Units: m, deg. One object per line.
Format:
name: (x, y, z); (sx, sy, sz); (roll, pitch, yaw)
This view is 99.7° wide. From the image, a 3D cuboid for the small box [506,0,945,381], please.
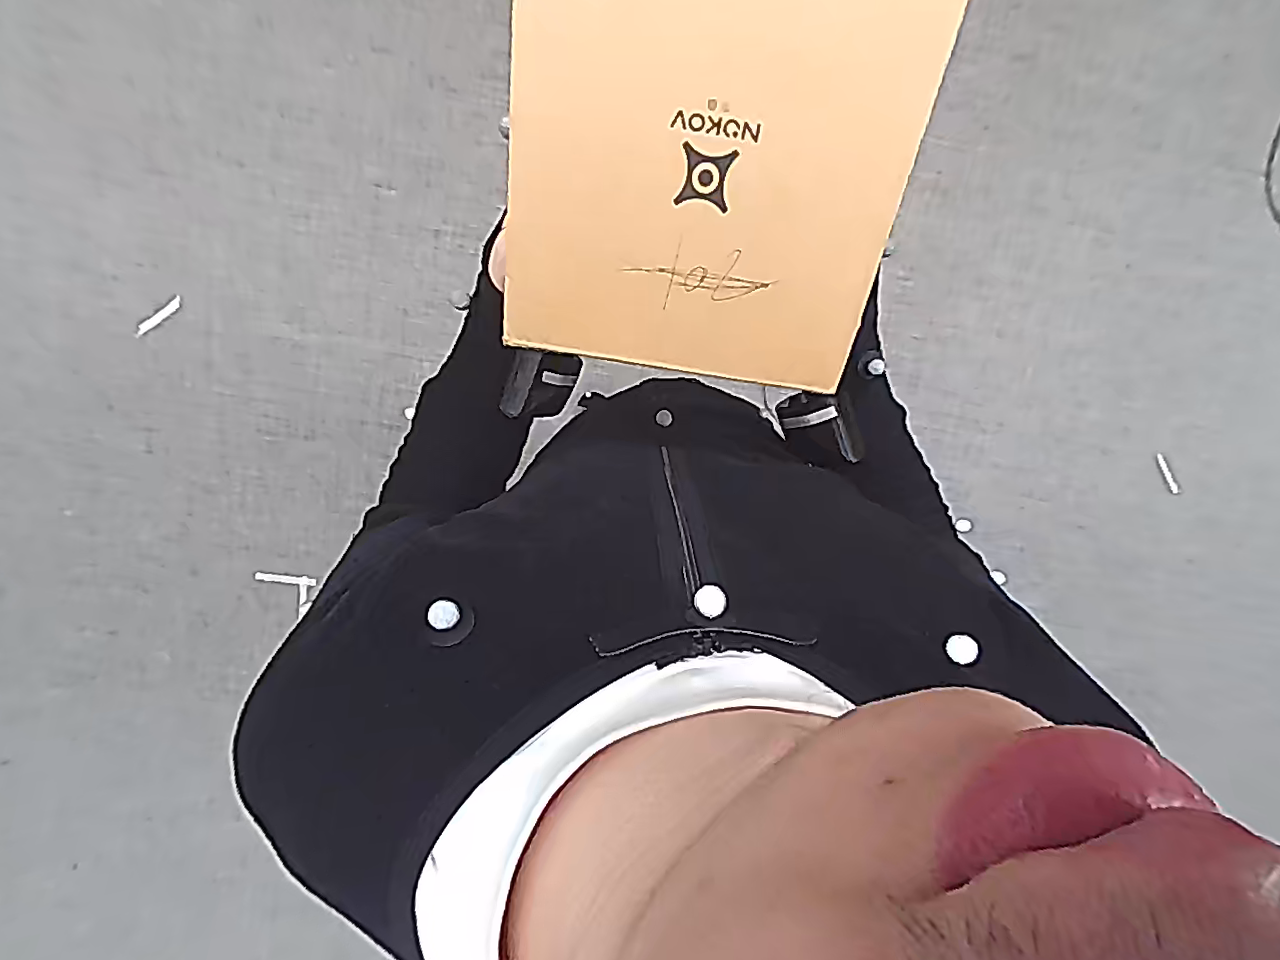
small box: (0.028, -0.175, 0.306); (0.168, 0.176, 0.179); (9, 118, -2)
